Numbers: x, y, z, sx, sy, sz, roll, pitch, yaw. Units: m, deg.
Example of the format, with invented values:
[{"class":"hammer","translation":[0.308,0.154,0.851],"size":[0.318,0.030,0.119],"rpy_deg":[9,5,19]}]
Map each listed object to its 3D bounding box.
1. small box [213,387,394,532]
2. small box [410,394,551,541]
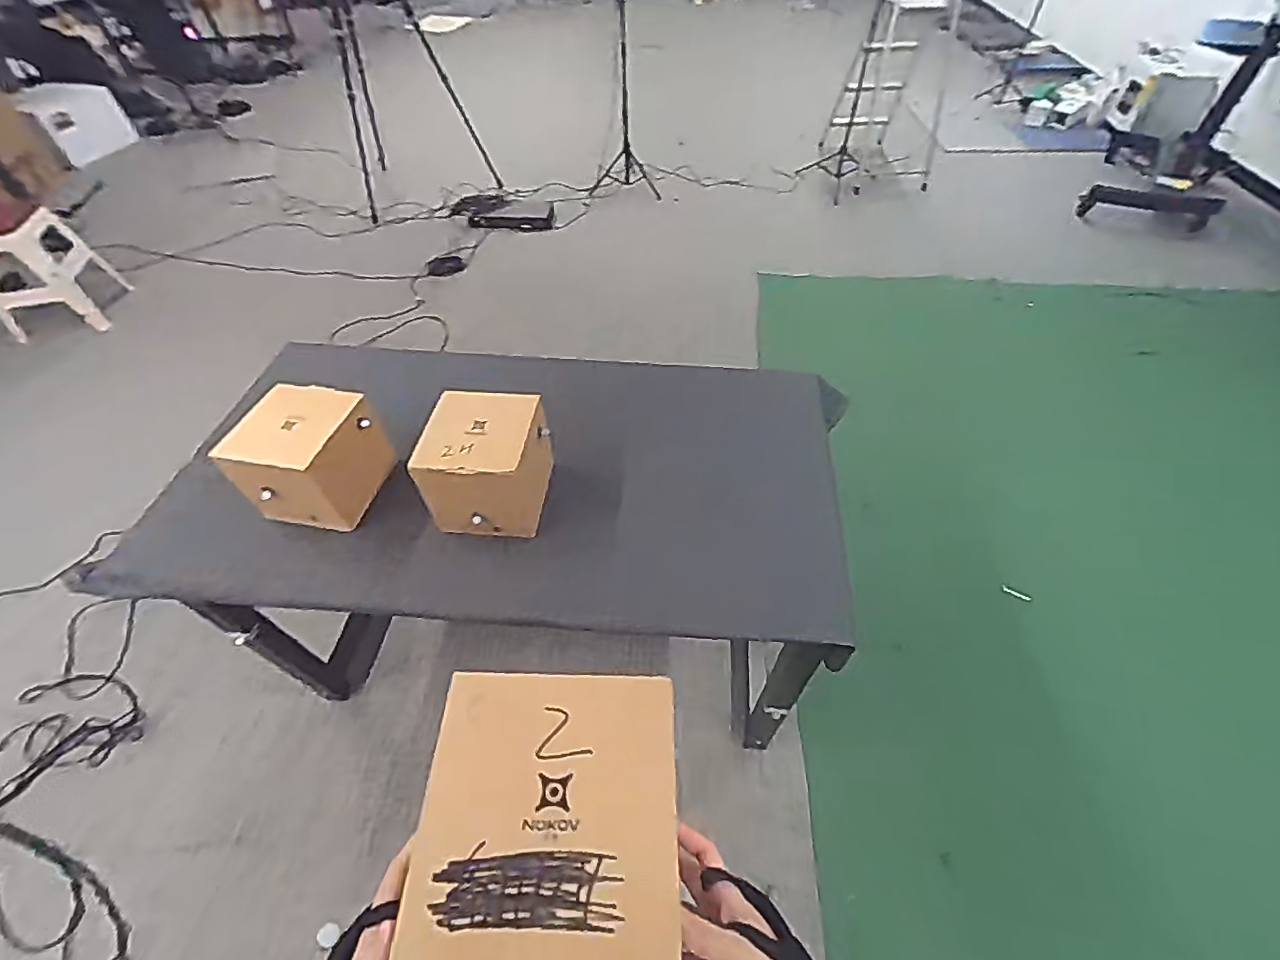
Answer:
[{"class":"small box","translation":[-0.554,-0.032,0.924],"size":[0.168,0.176,0.179],"rpy_deg":[8,50,7]},{"class":"small box","translation":[-0.252,-0.021,0.909],"size":[0.168,0.176,0.179],"rpy_deg":[3,50,4]}]
